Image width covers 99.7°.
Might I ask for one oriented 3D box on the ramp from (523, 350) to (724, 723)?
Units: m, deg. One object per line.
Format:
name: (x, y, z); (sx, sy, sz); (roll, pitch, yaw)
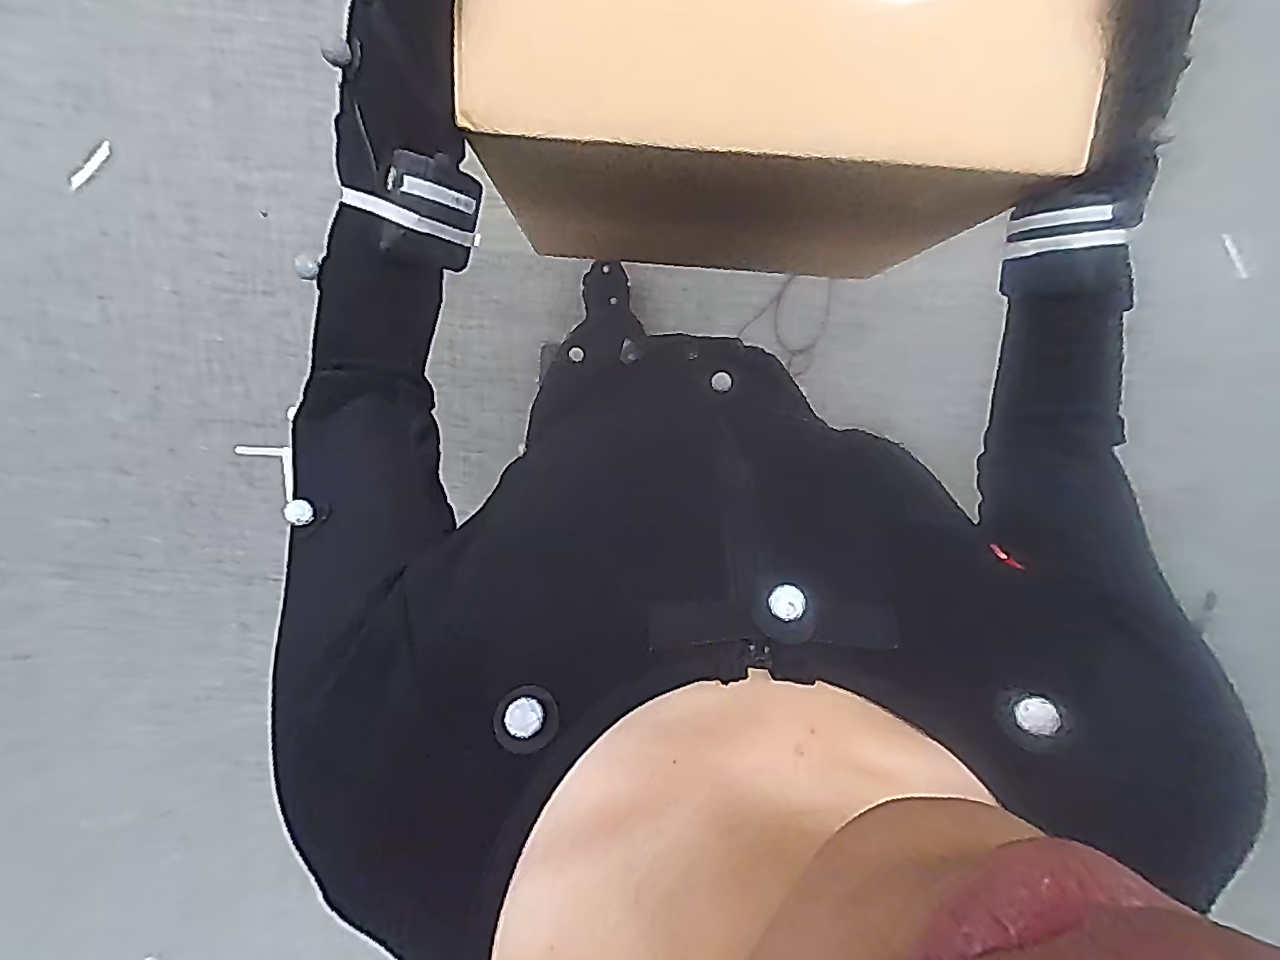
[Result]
ramp: (-0.050, 0.161, 1.479); (0.509, 0.206, 0.991); (3, 103, 1)

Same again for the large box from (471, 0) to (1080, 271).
large box: (0.086, -0.391, 0.487); (0.408, 0.320, 0.320); (3, 99, -3)
